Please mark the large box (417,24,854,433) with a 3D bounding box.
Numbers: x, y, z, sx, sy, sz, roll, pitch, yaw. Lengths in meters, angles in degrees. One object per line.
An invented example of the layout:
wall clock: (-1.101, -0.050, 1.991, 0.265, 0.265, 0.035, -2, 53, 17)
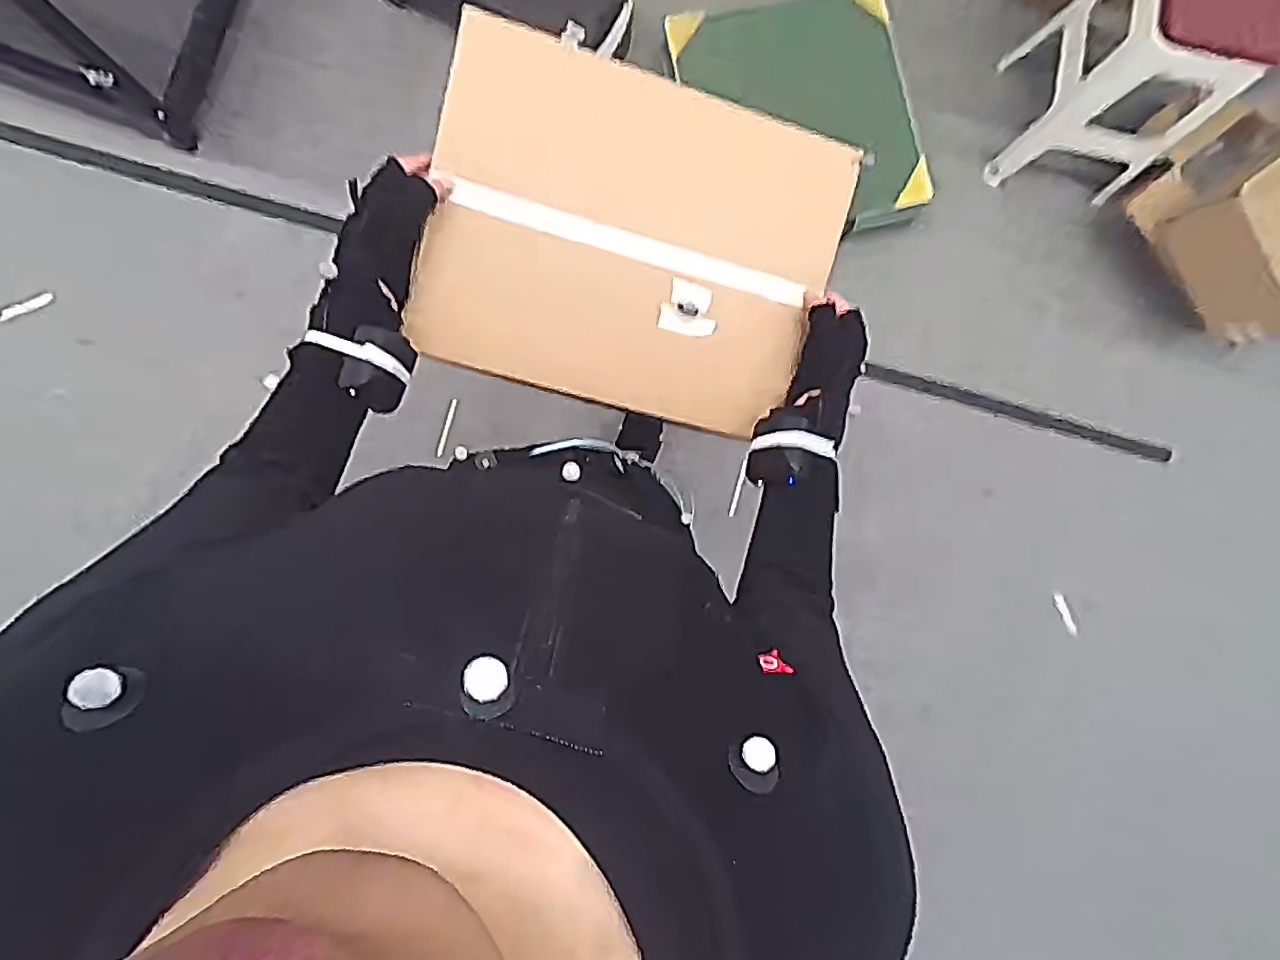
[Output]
large box: (-0.020, -0.262, 0.699, 0.408, 0.320, 0.320, 14, 97, -10)
